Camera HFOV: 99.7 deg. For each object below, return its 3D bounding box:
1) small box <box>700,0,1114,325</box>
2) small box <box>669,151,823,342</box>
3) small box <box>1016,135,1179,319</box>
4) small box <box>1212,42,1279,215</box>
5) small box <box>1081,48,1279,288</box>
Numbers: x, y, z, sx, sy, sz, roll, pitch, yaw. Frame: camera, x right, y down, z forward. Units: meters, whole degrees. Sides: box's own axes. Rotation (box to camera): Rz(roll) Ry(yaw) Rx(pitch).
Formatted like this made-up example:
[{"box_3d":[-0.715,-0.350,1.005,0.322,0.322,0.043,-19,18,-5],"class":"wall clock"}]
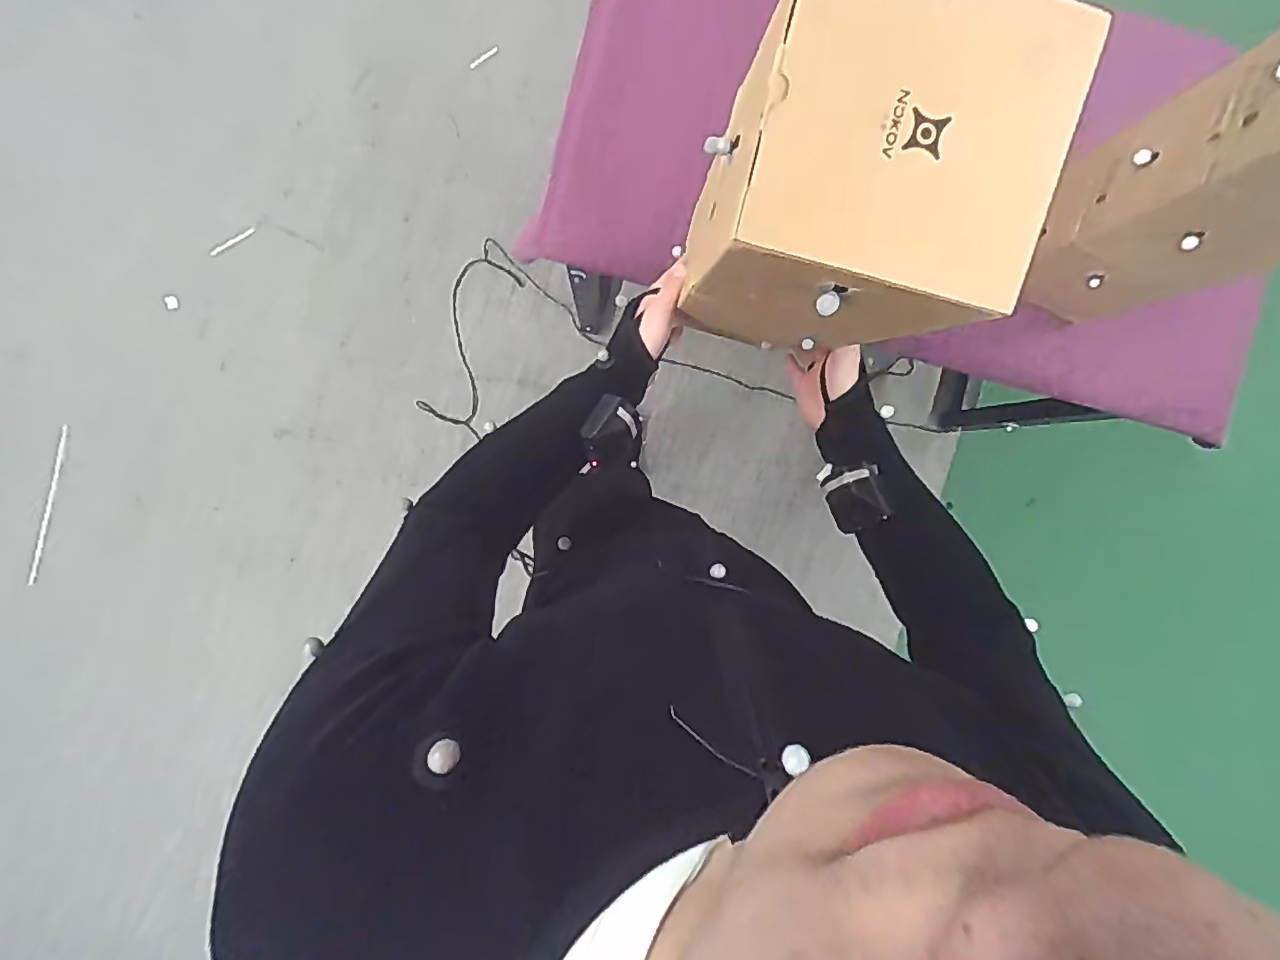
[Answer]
[{"box_3d":[0.154,-0.213,0.381,0.179,0.176,0.168,13,100,-4],"class":"small box"},{"box_3d":[0.146,-0.283,0.700,0.179,0.176,0.168,15,99,-4],"class":"small box"},{"box_3d":[0.697,-0.369,0.827,0.179,0.176,0.168,25,91,-4],"class":"small box"},{"box_3d":[0.718,-0.356,0.500,0.179,0.176,0.168,21,91,-3],"class":"small box"},{"box_3d":[0.706,-0.361,0.664,0.179,0.176,0.168,22,92,-3],"class":"small box"}]
